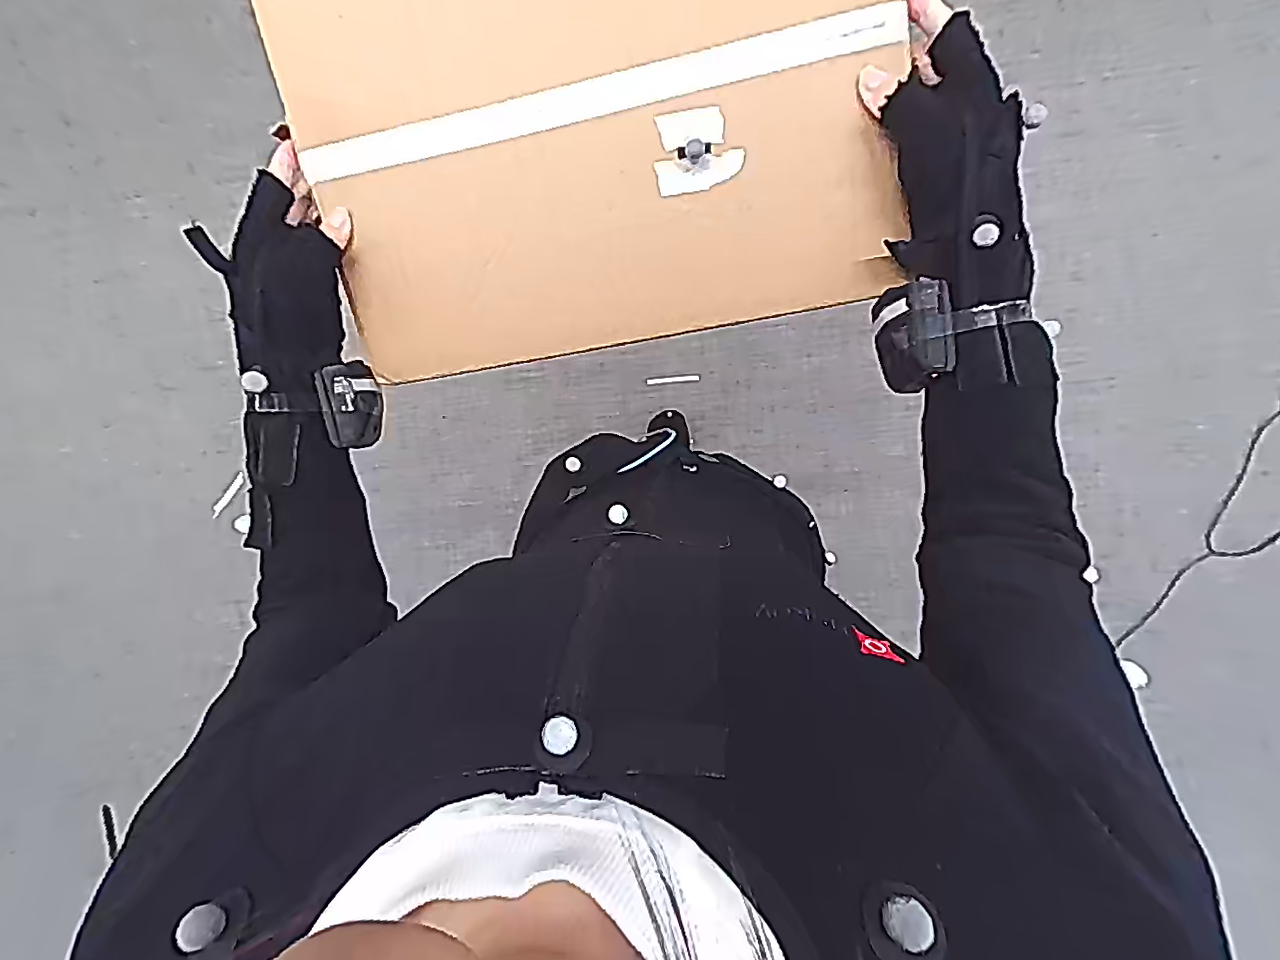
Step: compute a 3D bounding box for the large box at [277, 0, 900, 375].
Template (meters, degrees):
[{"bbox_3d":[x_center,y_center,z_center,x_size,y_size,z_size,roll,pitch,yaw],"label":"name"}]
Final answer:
[{"bbox_3d":[-0.025,-0.303,0.514,0.408,0.320,0.320,-9,107,7],"label":"large box"}]
